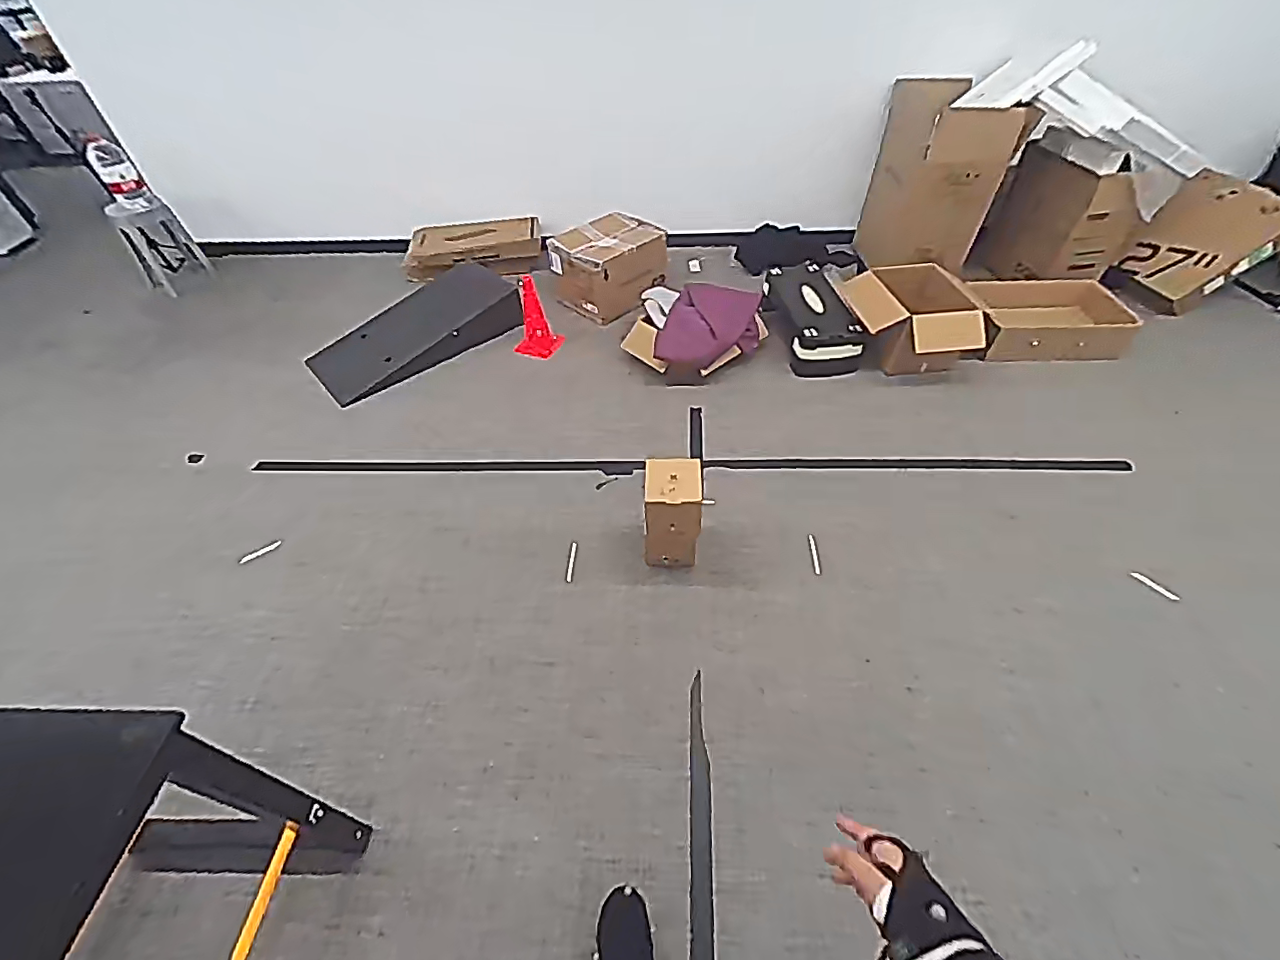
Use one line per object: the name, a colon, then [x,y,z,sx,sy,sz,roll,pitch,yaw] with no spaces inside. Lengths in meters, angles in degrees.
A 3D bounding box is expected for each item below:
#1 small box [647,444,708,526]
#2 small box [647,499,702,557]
small box: [0.107,0.014,1.560,0.168,0.176,0.179,-1,47,3]
small box: [0.105,0.121,1.687,0.168,0.176,0.179,-1,48,3]
